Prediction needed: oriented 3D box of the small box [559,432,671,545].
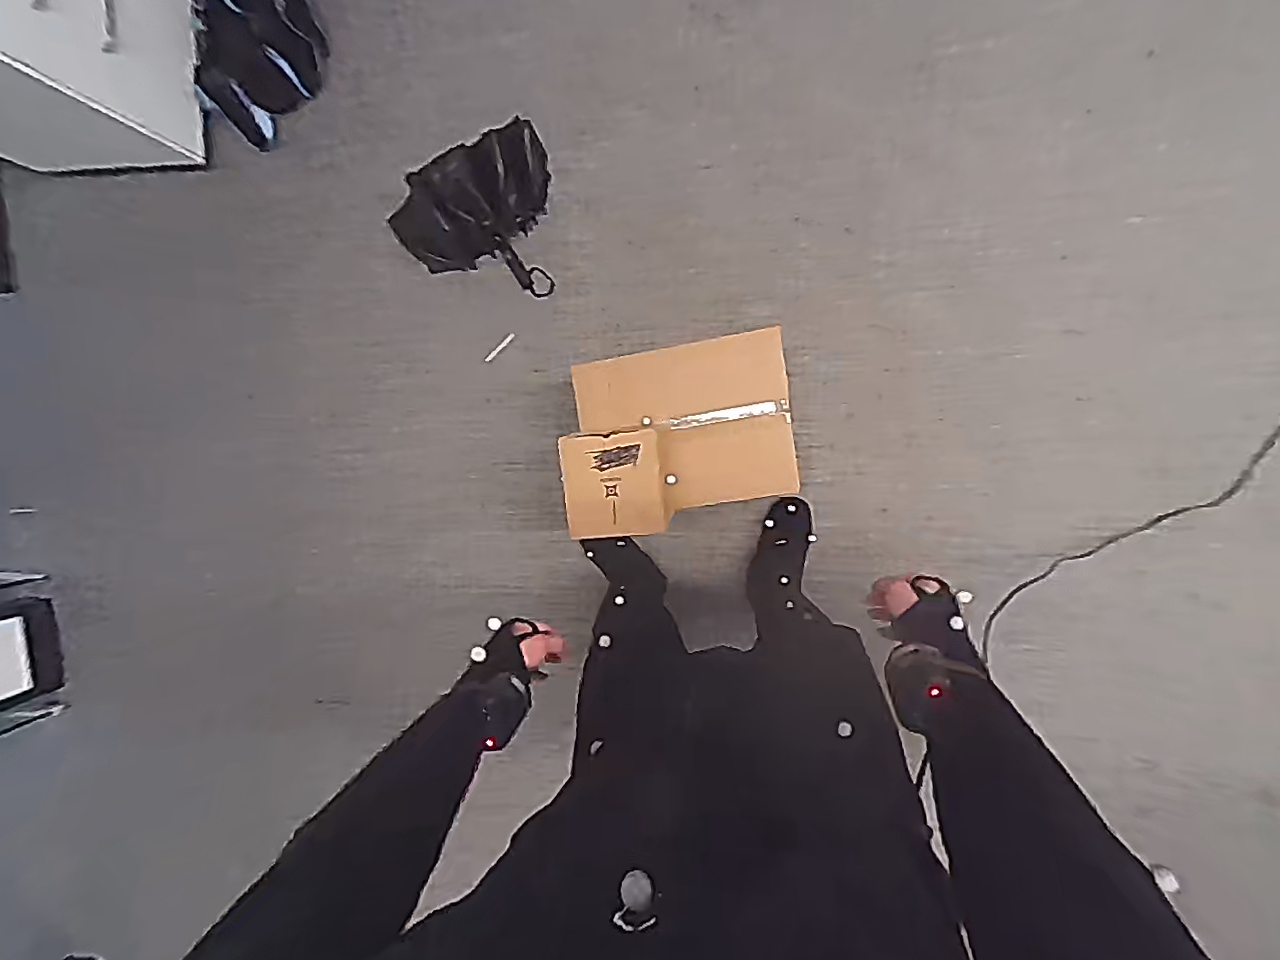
[{"bbox_3d":[-0.036,0.008,0.958,0.168,0.176,0.179,-5,97,8],"label":"small box"}]
